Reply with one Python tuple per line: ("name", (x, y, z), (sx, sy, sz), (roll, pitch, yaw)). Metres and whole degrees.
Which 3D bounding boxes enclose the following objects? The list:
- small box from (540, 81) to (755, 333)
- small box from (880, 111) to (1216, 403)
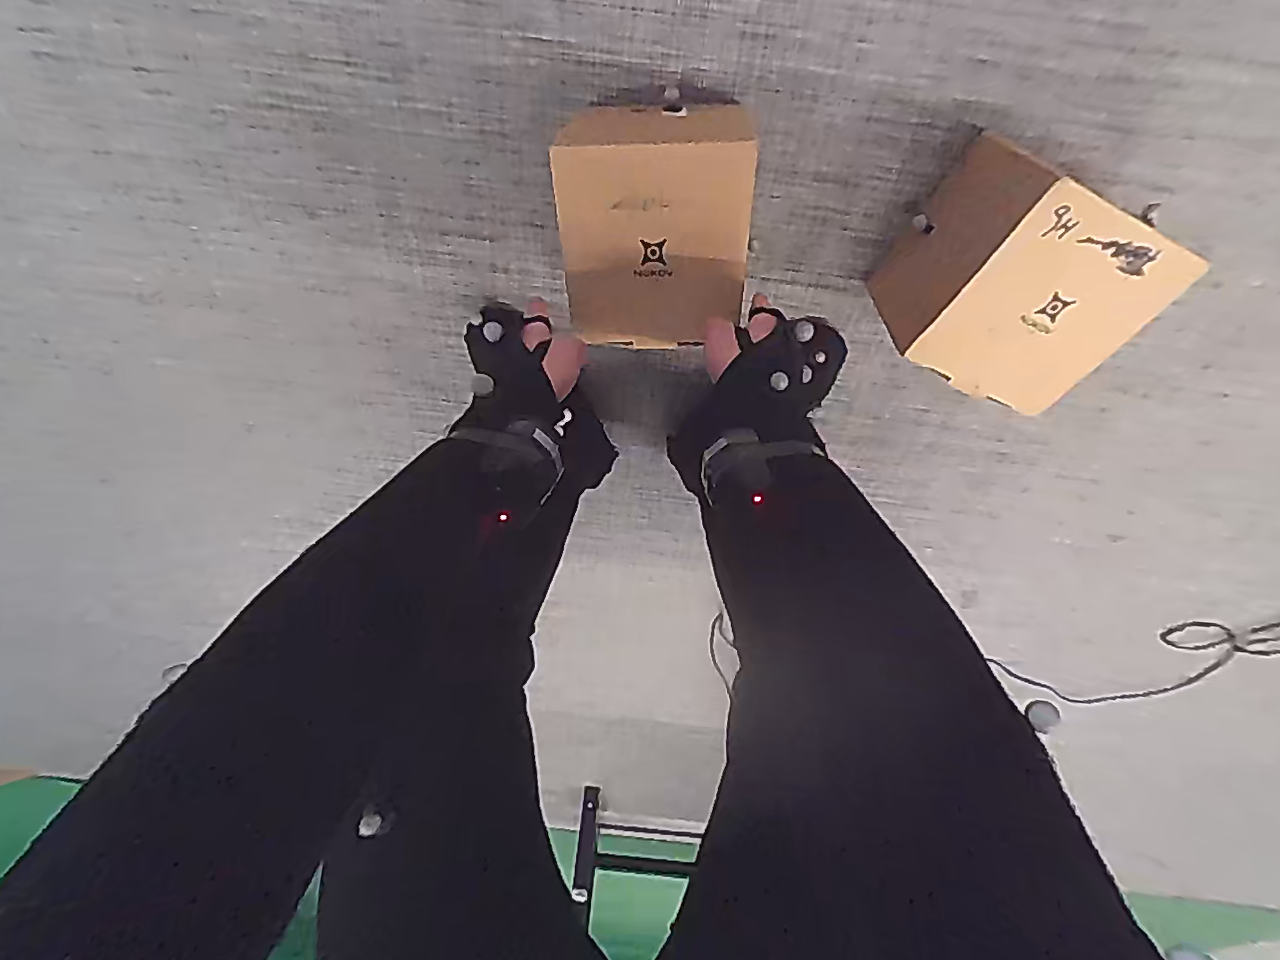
("small box", (0.013, -0.261, 0.519), (0.168, 0.176, 0.179), (0, 133, 4))
("small box", (0.360, -0.213, 0.524), (0.168, 0.176, 0.179), (20, 134, -12))
